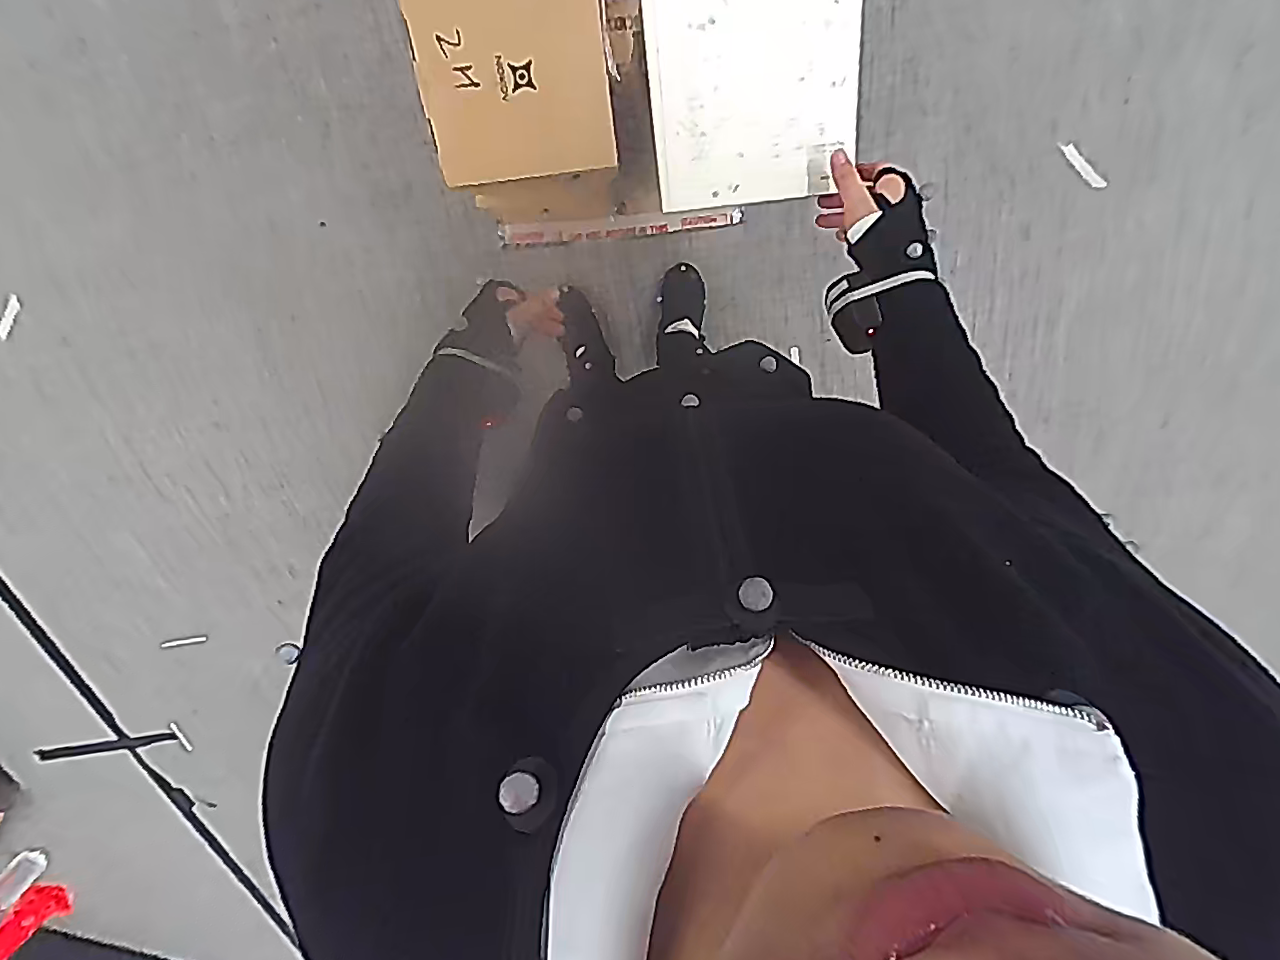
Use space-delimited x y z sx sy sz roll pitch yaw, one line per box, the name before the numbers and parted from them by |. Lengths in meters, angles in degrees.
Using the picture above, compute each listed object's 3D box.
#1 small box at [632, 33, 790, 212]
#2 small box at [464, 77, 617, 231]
small box | 0.091 -0.475 0.742 0.179 0.176 0.168 -11 115 2
small box | -0.123 -0.441 0.748 0.179 0.176 0.168 -2 116 1
